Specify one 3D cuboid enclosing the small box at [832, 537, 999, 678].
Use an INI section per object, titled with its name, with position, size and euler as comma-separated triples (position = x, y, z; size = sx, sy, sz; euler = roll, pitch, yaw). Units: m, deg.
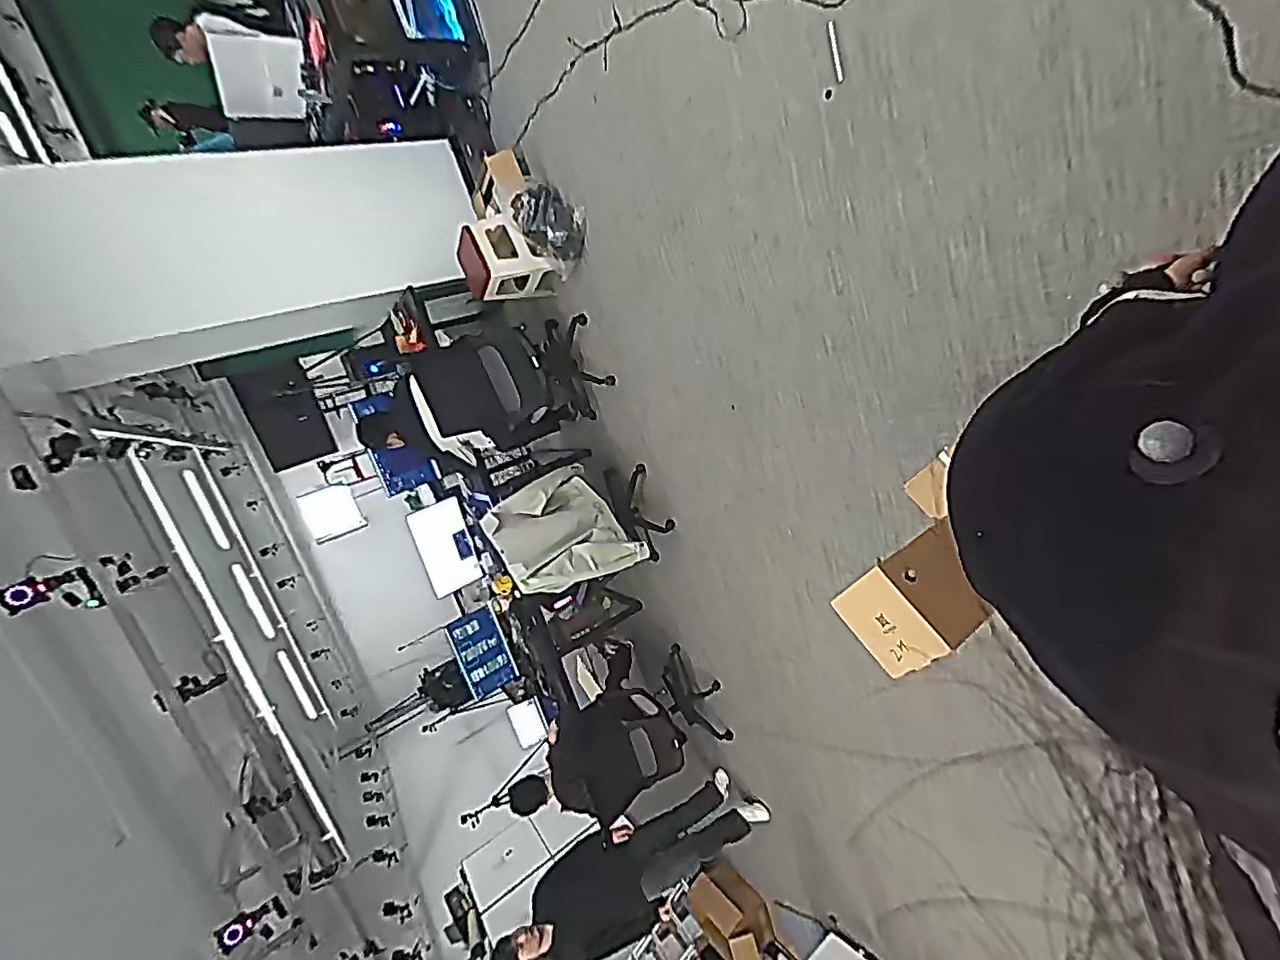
[small box]
position = 0.501, 0.226, 0.994
size = 0.179, 0.176, 0.168
euler = 53, 150, 22
